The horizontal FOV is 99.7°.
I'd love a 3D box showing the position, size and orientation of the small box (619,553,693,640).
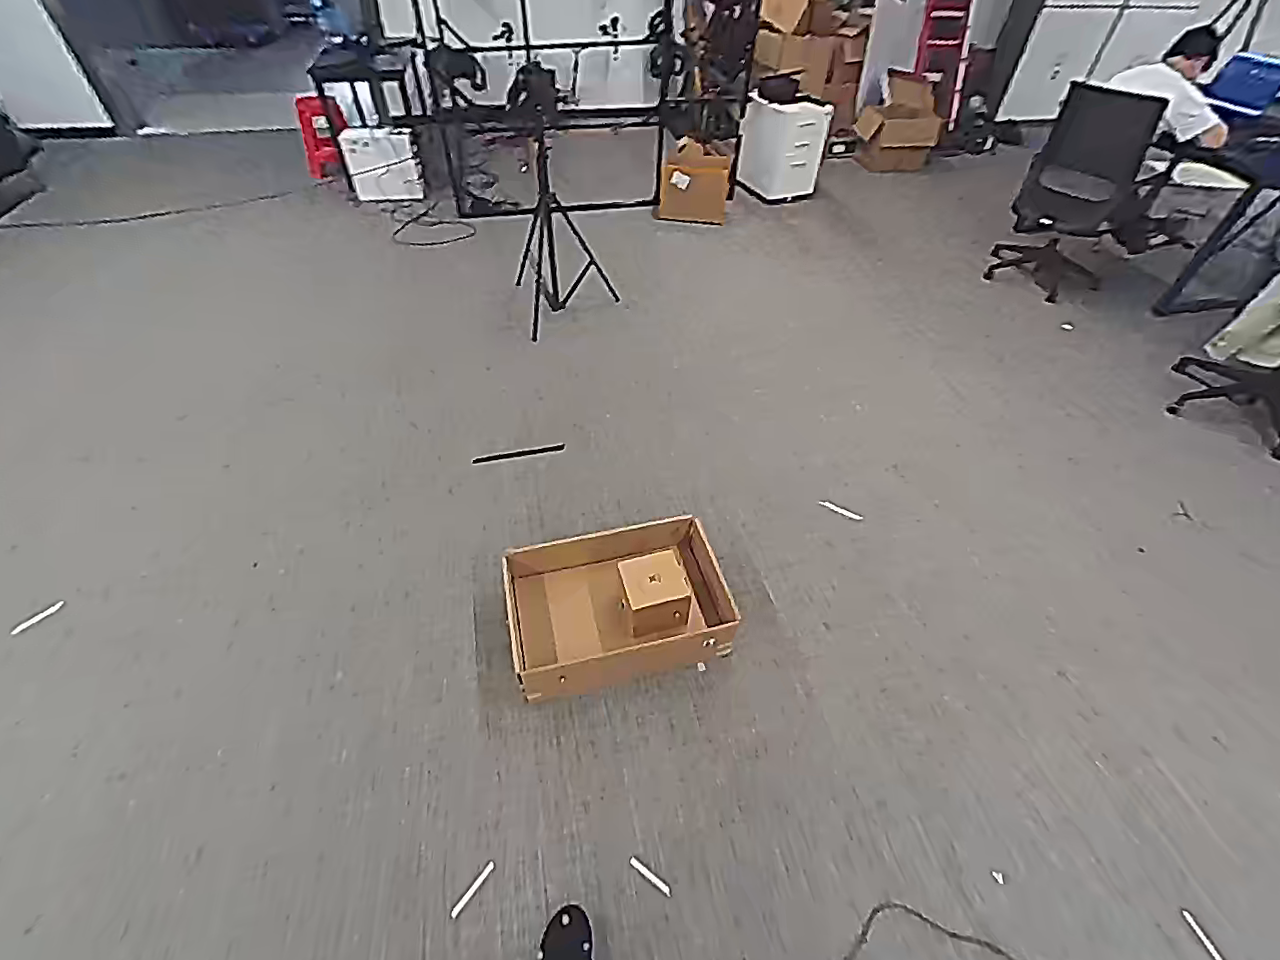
[{"bbox_3d":[0.043,0.345,1.594,0.179,0.176,0.168,-13,47,-12],"label":"small box"}]
